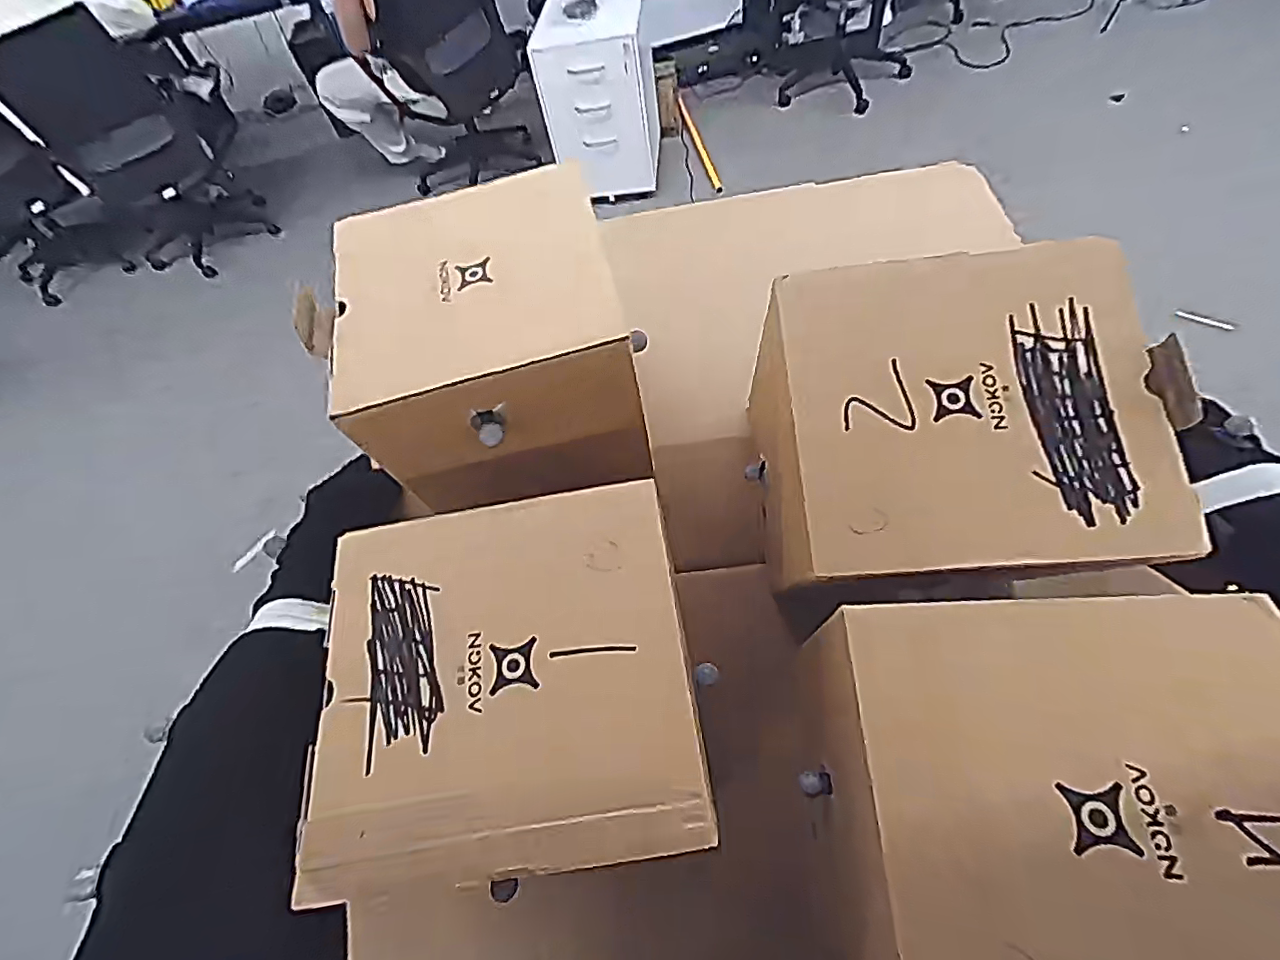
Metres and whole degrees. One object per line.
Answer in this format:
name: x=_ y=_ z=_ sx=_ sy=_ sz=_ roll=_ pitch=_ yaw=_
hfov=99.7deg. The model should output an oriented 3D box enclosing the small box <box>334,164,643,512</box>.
small box: x=-0.100 y=-0.096 z=0.417 sx=0.179 sy=0.176 sz=0.168 roll=-16 pitch=62 yaw=1
